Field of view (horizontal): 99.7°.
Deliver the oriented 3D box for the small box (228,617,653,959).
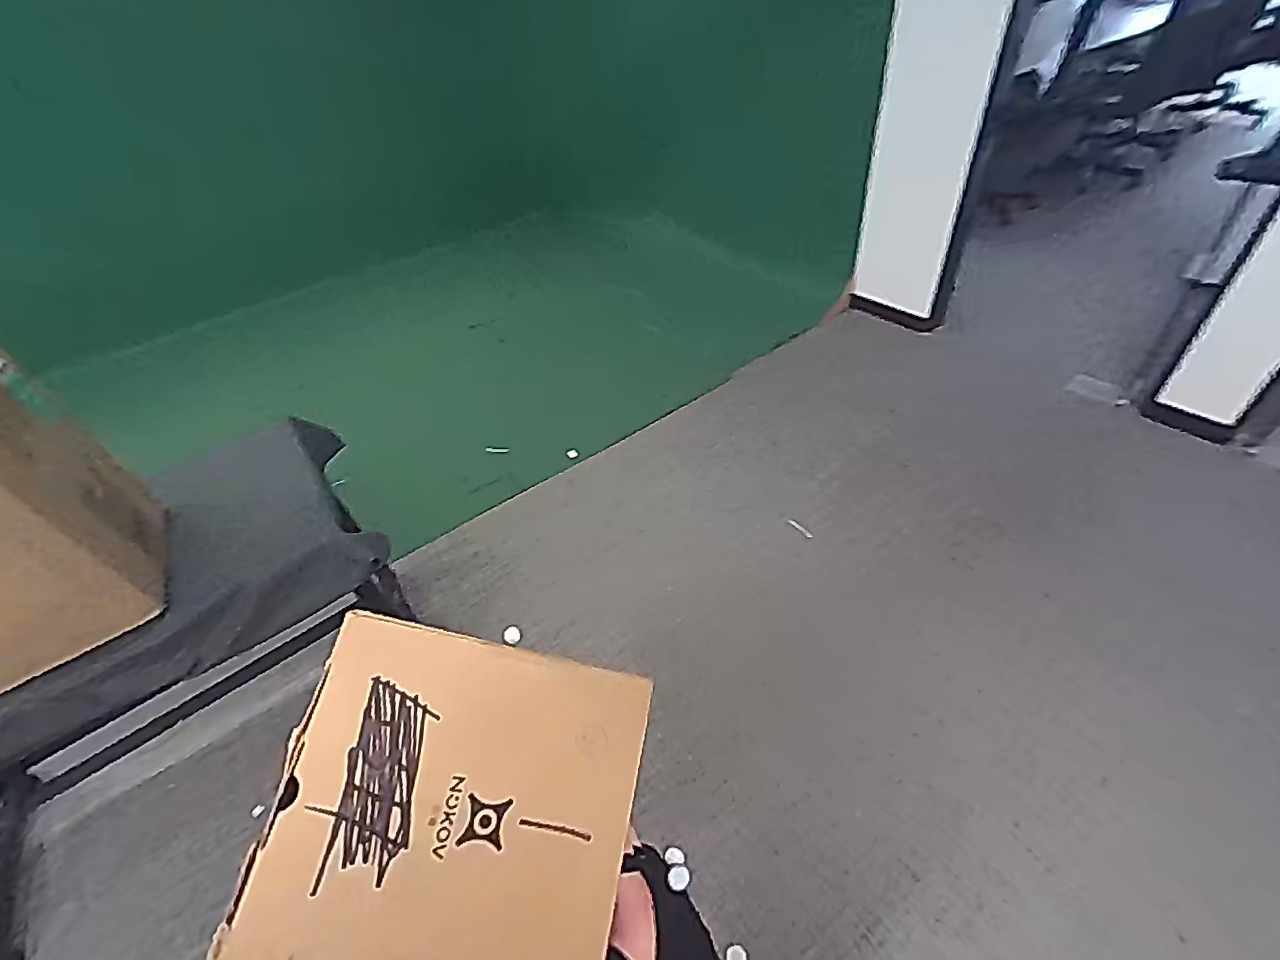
[{"bbox_3d":[-0.114,0.194,0.344,0.179,0.176,0.168,18,66,-18],"label":"small box"}]
